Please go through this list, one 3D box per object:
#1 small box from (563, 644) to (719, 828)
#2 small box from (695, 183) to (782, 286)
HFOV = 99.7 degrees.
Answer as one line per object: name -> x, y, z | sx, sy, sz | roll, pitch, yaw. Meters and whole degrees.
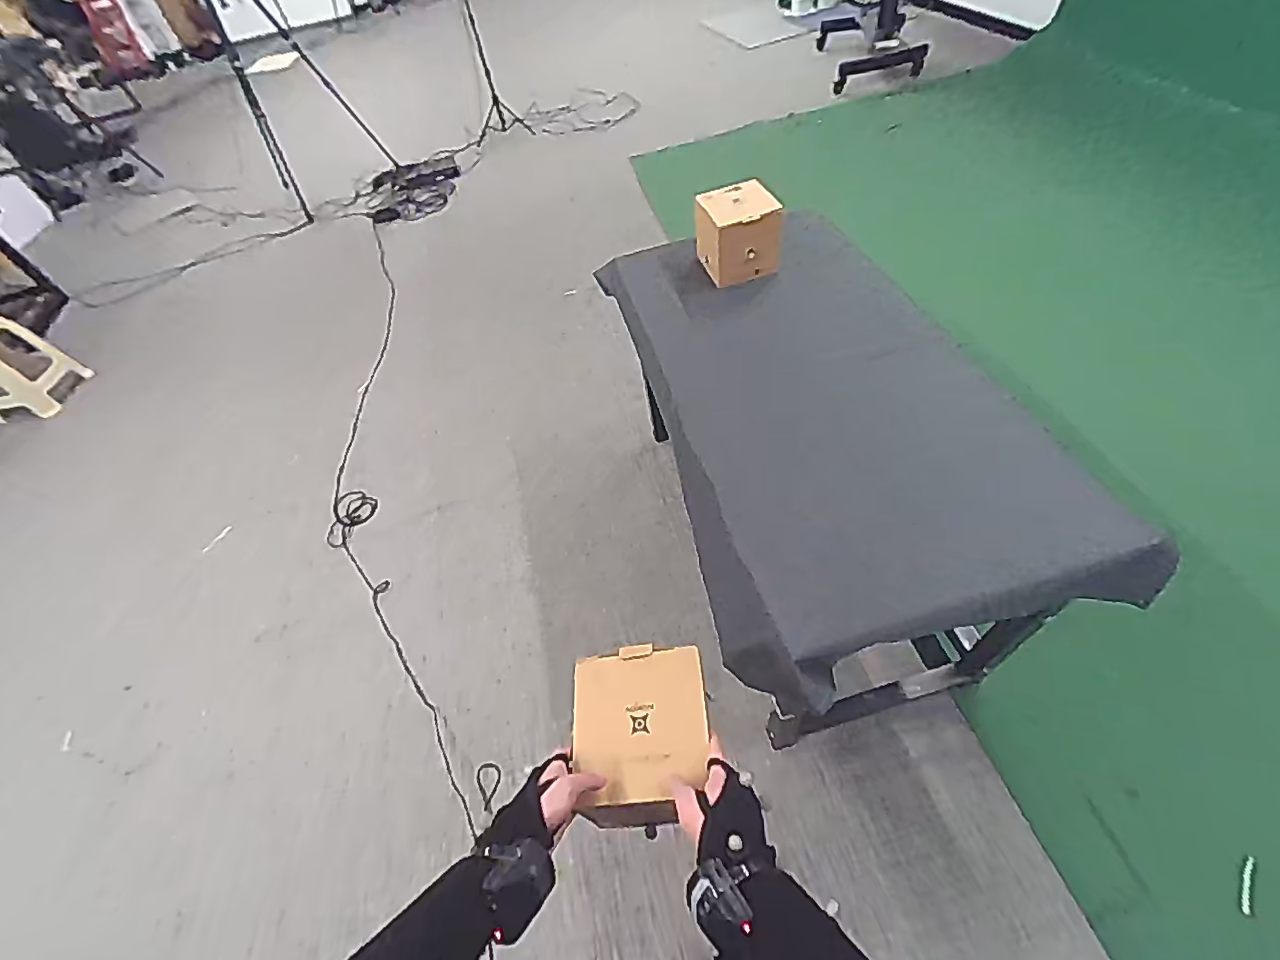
small box -> 0.008, 0.334, 0.700 | 0.168, 0.176, 0.179 | -8, 49, 8
small box -> 0.249, -0.618, 1.380 | 0.168, 0.176, 0.179 | -17, 53, -3
